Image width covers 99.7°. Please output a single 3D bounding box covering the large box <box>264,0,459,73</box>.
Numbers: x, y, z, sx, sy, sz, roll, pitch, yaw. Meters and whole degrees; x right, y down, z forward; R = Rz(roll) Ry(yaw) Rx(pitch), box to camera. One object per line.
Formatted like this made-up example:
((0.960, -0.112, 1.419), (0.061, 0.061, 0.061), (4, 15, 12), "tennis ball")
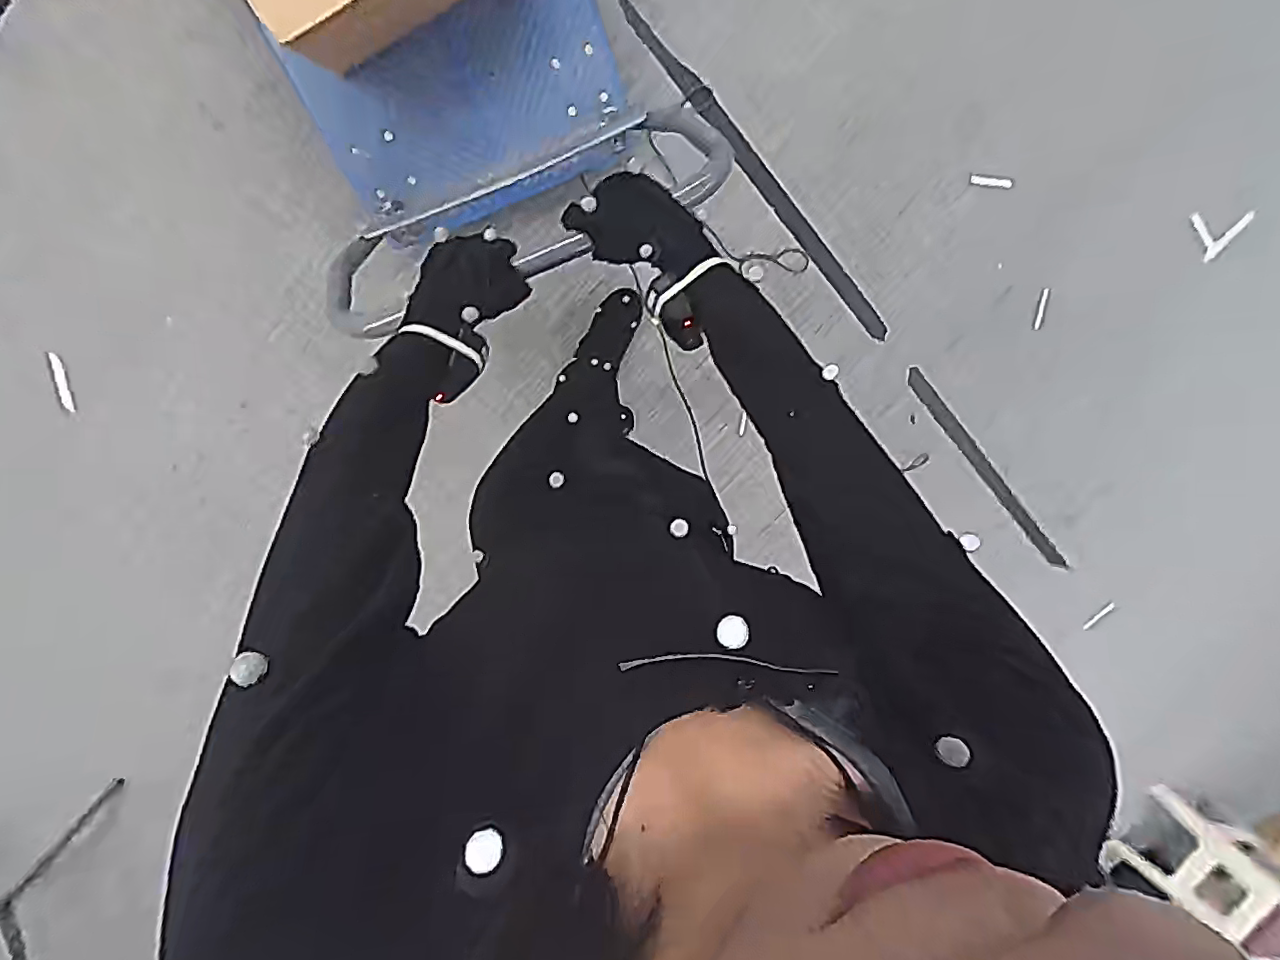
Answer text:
((-0.406, -0.876, 0.770), (0.408, 0.320, 0.320), (-30, 122, 3), "large box")
